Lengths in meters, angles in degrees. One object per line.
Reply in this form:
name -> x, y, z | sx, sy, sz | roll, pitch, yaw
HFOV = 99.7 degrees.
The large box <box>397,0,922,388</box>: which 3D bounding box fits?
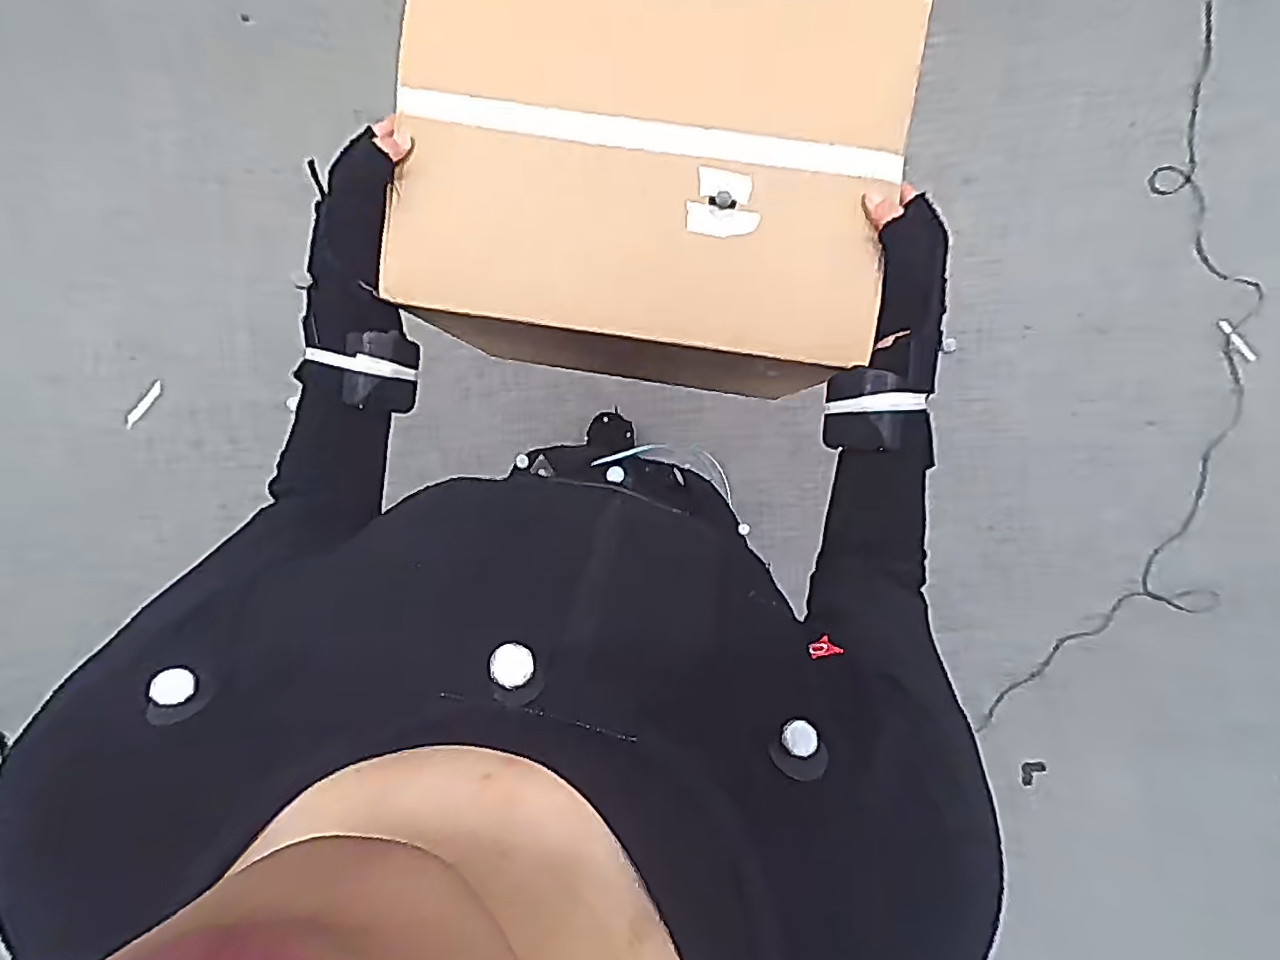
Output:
large box -> 0.011, -0.290, 0.588 | 0.408, 0.320, 0.320 | 8, 95, 0
